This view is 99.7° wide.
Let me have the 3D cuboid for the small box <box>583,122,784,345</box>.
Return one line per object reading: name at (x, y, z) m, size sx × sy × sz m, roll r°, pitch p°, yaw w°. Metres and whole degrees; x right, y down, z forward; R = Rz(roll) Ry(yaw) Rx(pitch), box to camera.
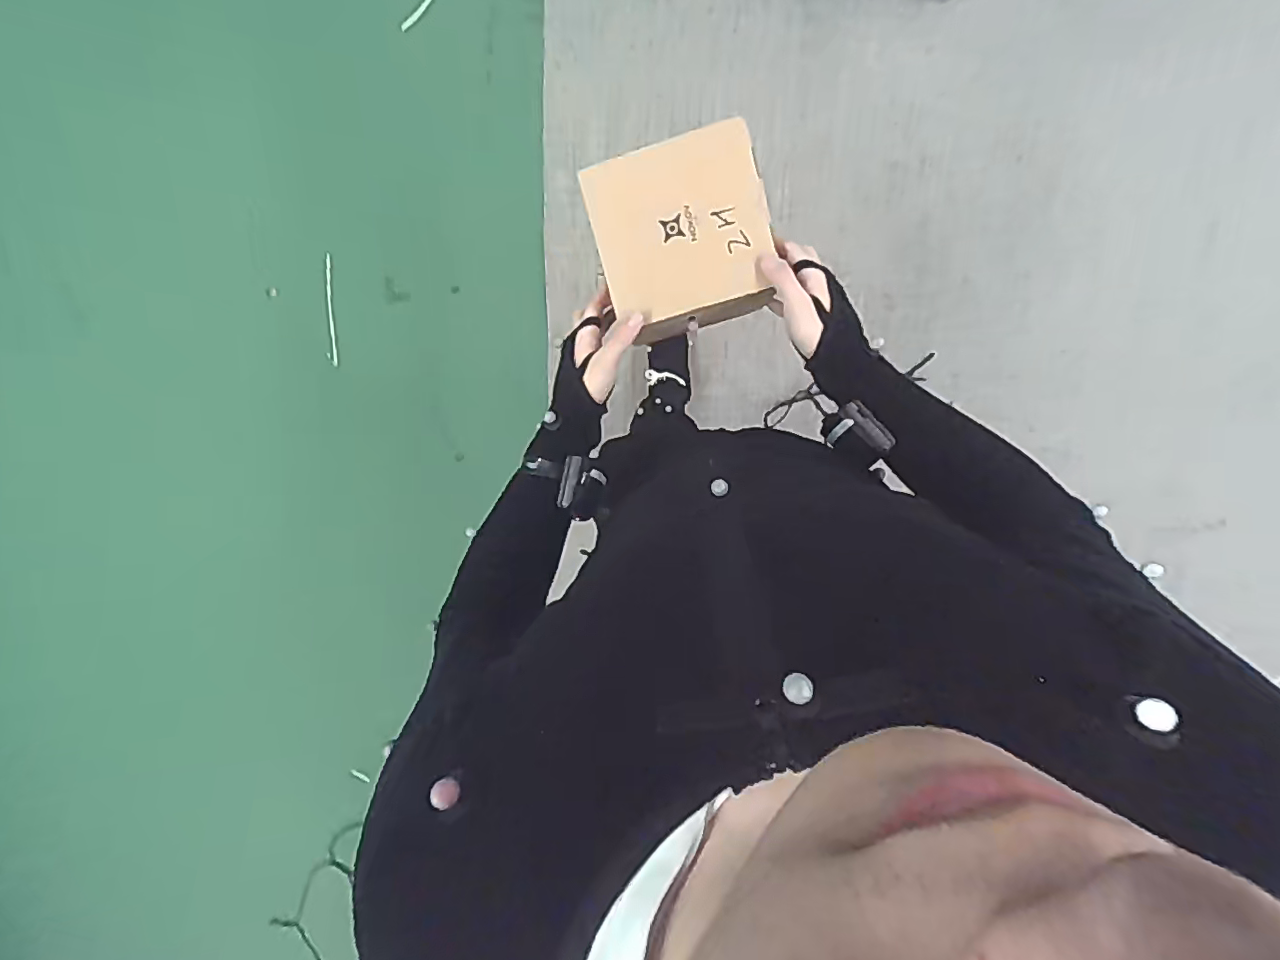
small box at (0.051, -0.261, 0.621) m, size 0.179 × 0.176 × 0.168 m, roll -14°, pitch 97°, yaw 6°
